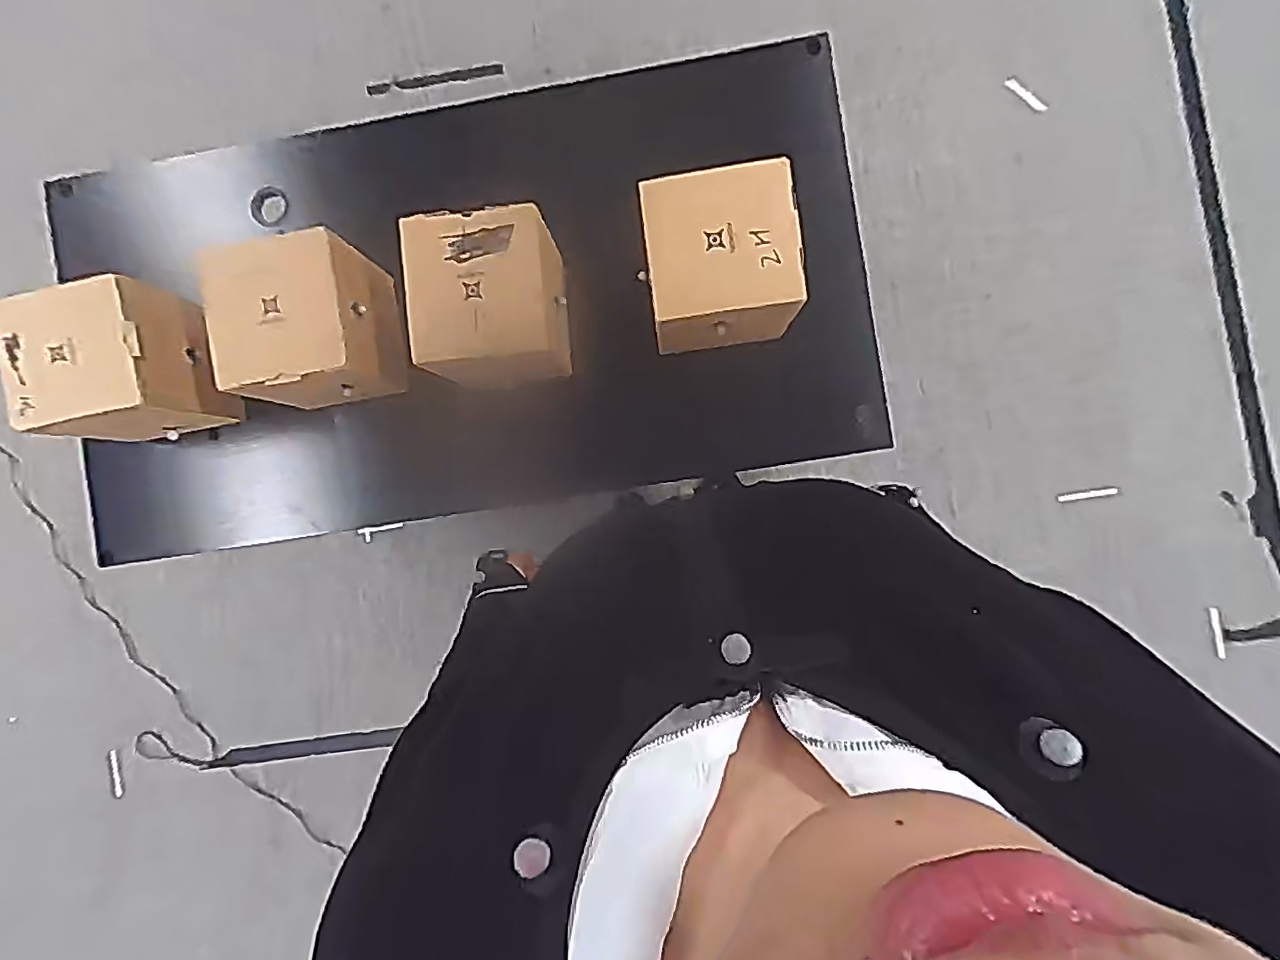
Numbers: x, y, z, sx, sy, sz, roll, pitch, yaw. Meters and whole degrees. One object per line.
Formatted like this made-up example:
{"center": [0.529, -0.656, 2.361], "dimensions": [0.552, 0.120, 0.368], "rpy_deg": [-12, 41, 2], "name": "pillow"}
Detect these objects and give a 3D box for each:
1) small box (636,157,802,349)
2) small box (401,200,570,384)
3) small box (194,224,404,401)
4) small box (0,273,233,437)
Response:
{"center": [0.096, -0.277, 0.699], "dimensions": [0.179, 0.176, 0.168], "rpy_deg": [-7, 90, 3], "name": "small box"}
{"center": [-0.192, -0.234, 0.713], "dimensions": [0.168, 0.176, 0.179], "rpy_deg": [-5, 90, 3], "name": "small box"}
{"center": [-0.440, -0.208, 0.726], "dimensions": [0.168, 0.176, 0.179], "rpy_deg": [-10, 89, 2], "name": "small box"}
{"center": [-0.697, -0.157, 0.736], "dimensions": [0.179, 0.176, 0.168], "rpy_deg": [-11, 89, 2], "name": "small box"}
